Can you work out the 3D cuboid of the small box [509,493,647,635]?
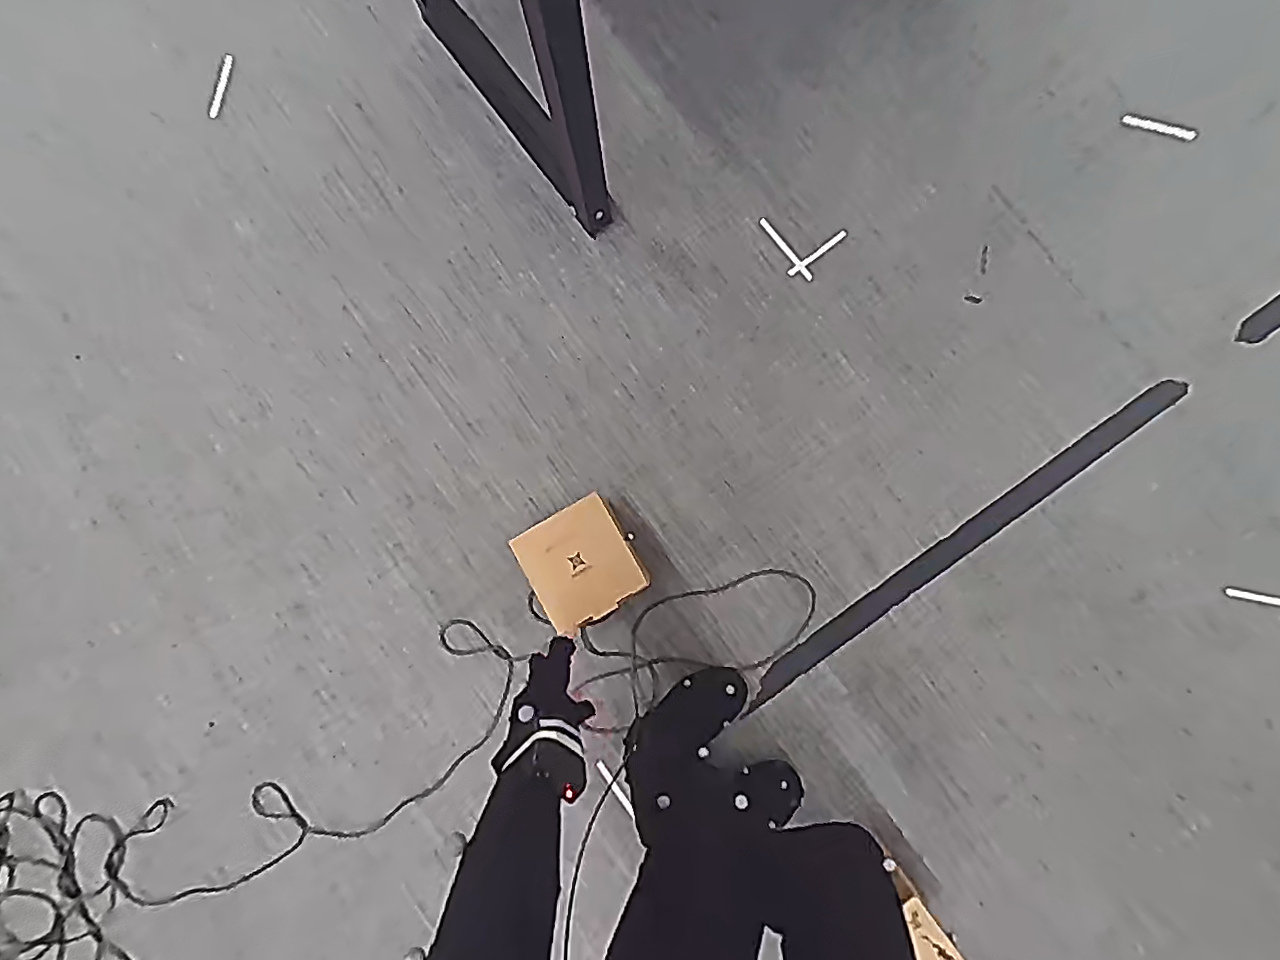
[{"bbox_3d":[-0.096,0.141,0.939,0.168,0.176,0.179,-31,83,-2],"label":"small box"}]

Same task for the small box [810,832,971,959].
[{"bbox_3d":[0.403,0.738,0.887,0.179,0.176,0.168,-38,86,0],"label":"small box"}]
